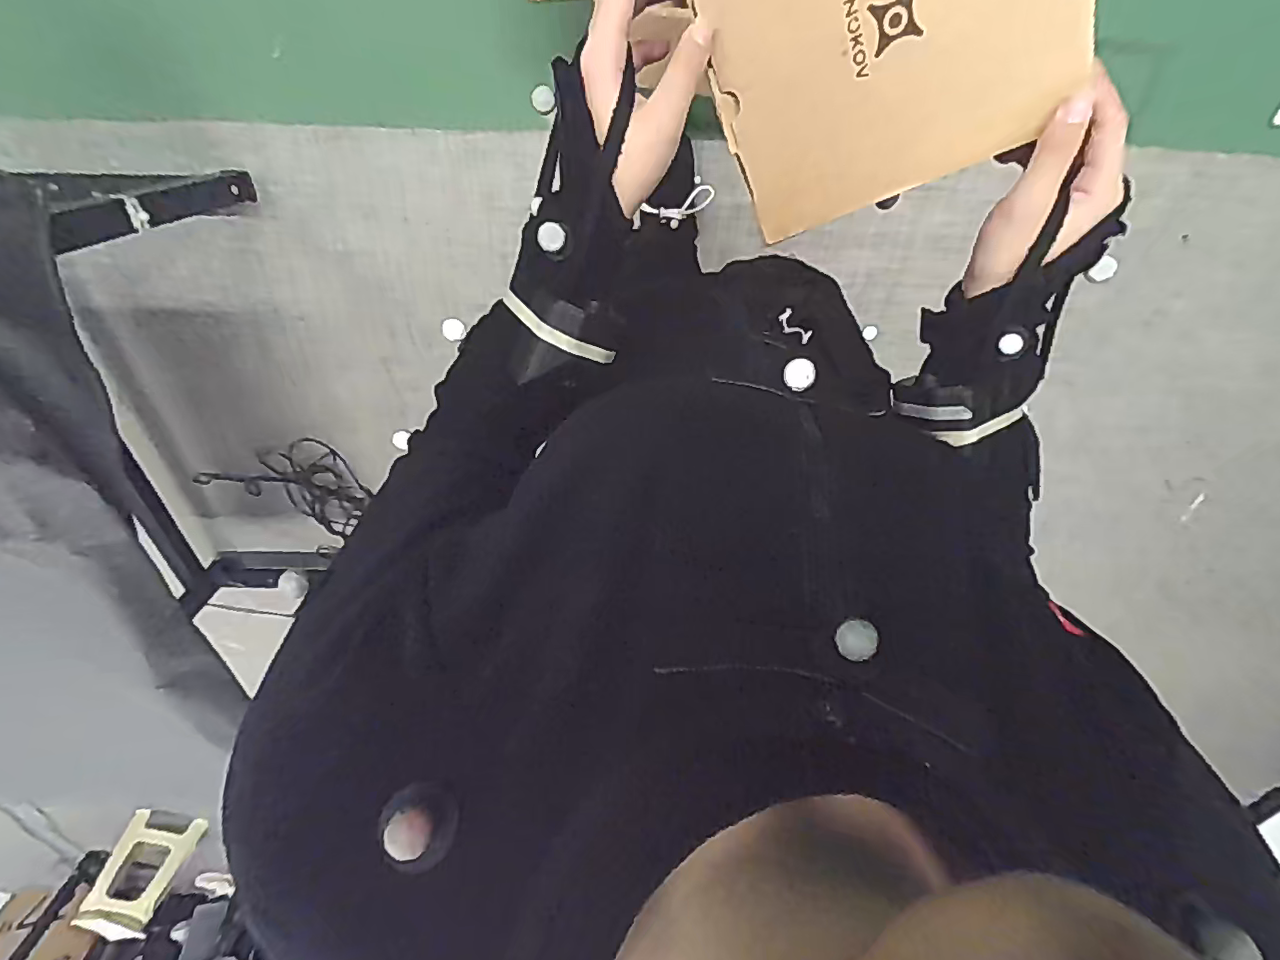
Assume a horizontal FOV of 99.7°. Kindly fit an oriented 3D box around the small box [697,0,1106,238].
[{"bbox_3d":[0.139,-0.284,0.327,0.179,0.176,0.168,-14,127,24],"label":"small box"}]
